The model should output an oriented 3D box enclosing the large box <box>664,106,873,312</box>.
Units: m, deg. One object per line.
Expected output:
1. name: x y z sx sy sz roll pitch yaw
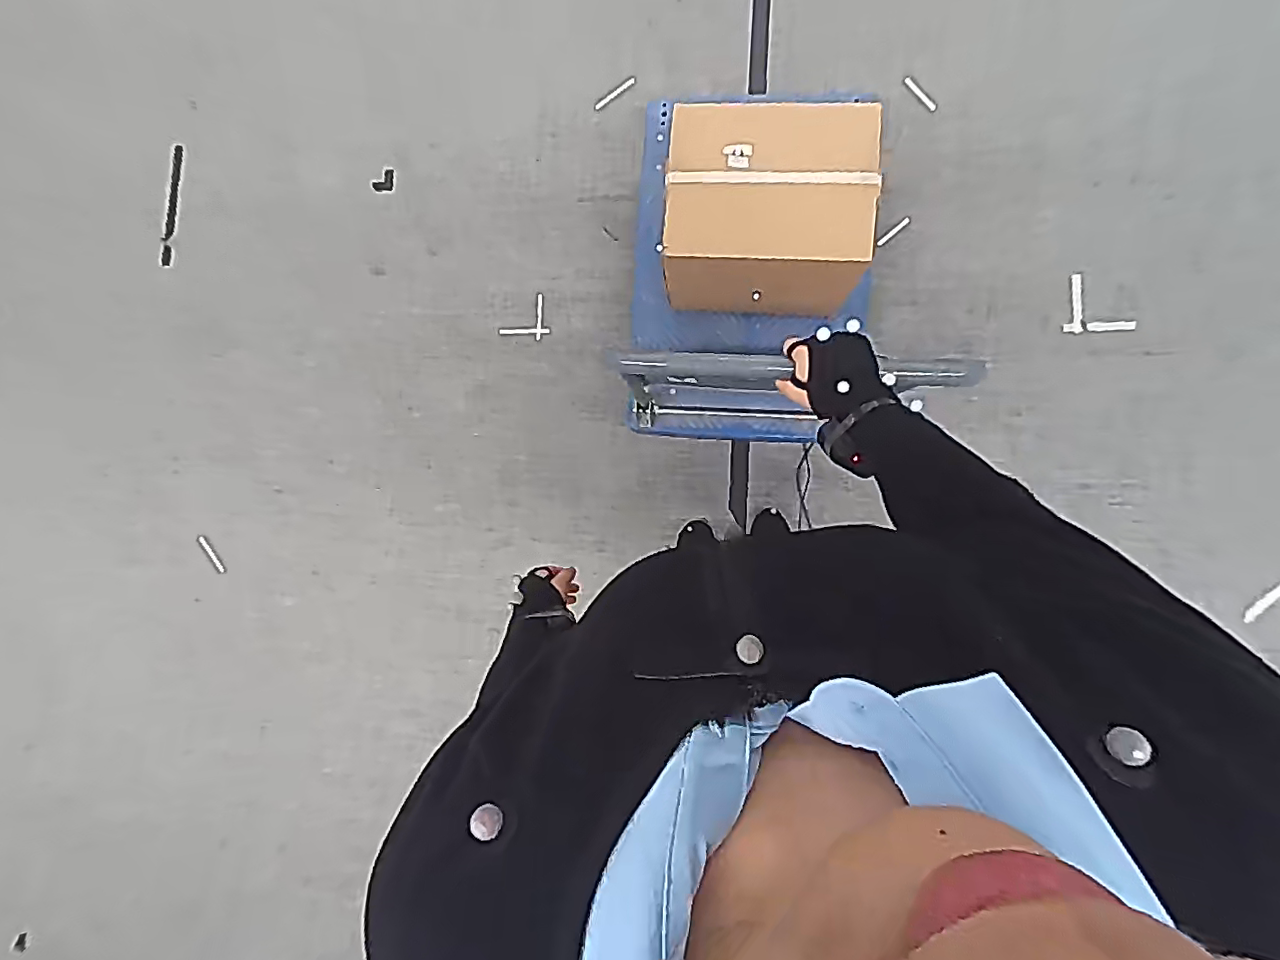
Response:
1. large box: 0.274 -0.579 1.221 0.408 0.320 0.320 3 87 8
